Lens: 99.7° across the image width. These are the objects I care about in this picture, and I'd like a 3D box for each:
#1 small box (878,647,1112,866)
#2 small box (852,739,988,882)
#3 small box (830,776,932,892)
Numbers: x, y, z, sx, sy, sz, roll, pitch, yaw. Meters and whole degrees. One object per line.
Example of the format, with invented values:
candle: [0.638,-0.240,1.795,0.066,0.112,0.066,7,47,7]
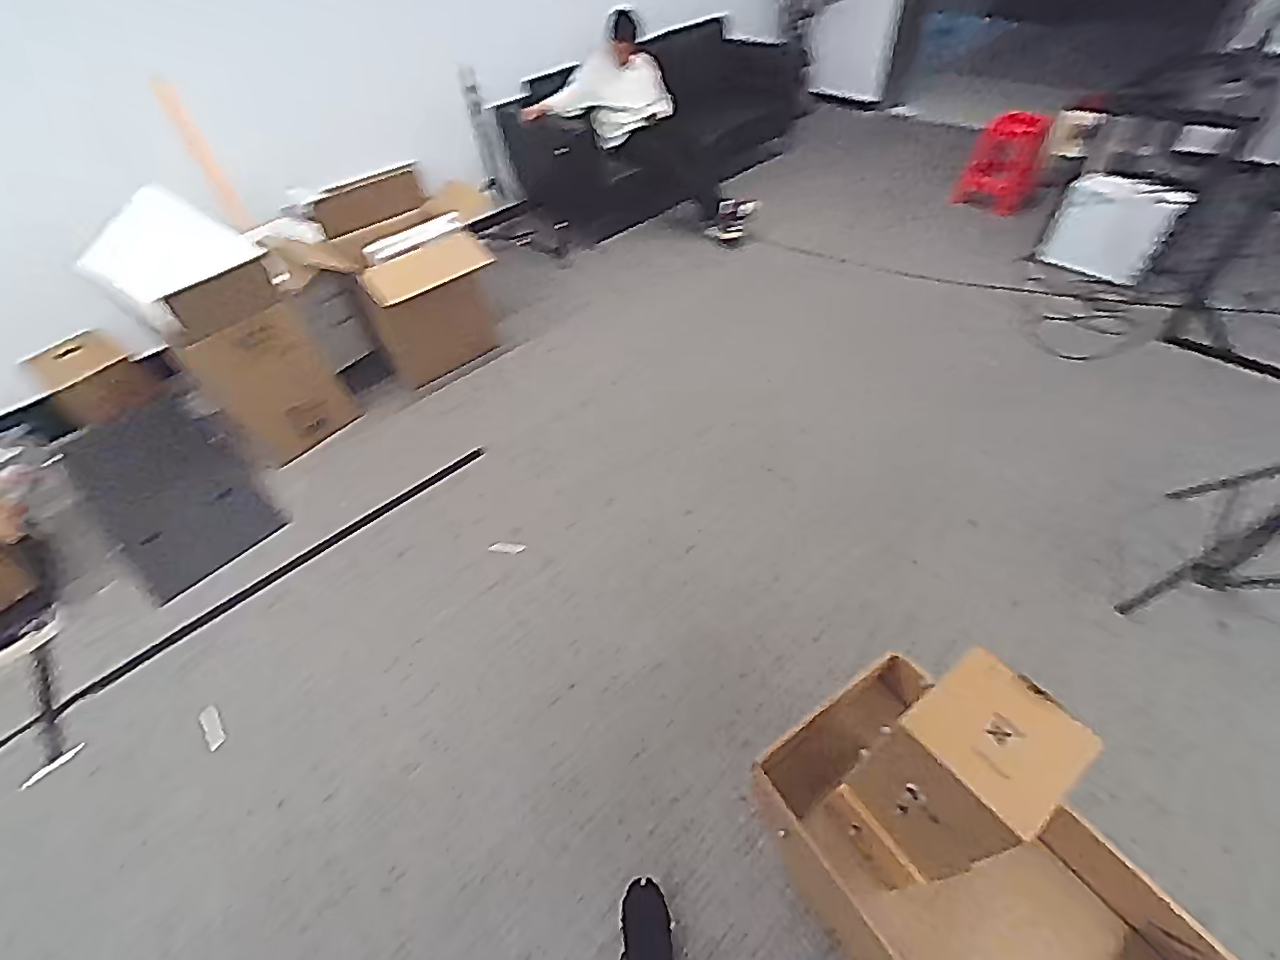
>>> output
small box: [0.445,0.361,0.709,0.179,0.176,0.168,-29,52,-21]
small box: [0.458,0.473,0.829,0.168,0.176,0.179,-28,53,-19]
small box: [0.459,0.583,0.951,0.179,0.176,0.168,-29,53,-20]
